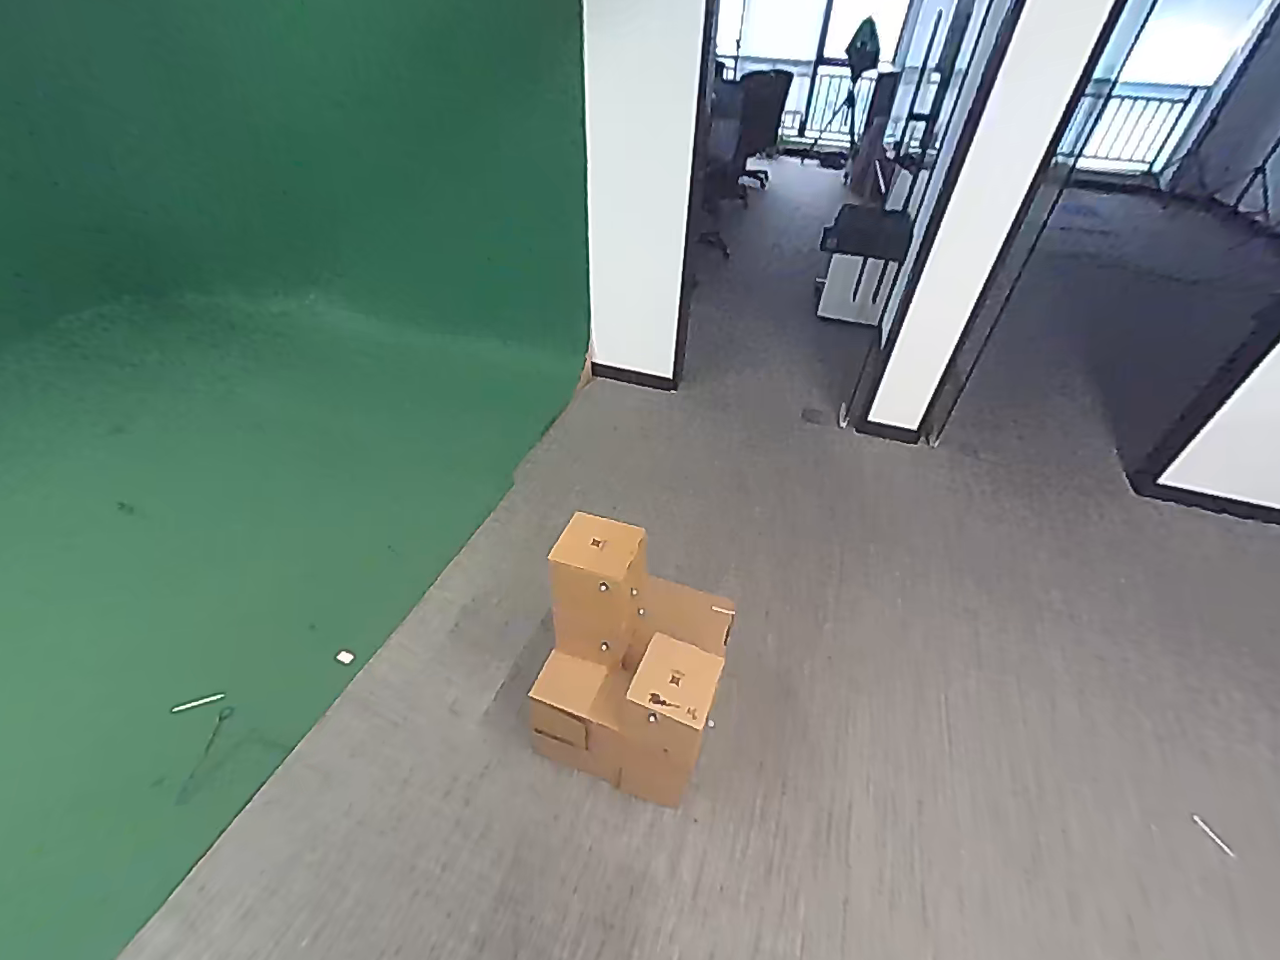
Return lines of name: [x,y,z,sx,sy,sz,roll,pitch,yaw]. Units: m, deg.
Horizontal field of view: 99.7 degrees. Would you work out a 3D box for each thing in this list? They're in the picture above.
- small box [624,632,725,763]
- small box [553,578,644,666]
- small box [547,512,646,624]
small box: [0.071,0.475,1.183,0.168,0.176,0.179,18,41,16]
small box: [-0.100,0.334,1.343,0.179,0.176,0.168,13,39,12]
small box: [-0.098,0.205,1.244,0.179,0.176,0.168,14,40,12]
